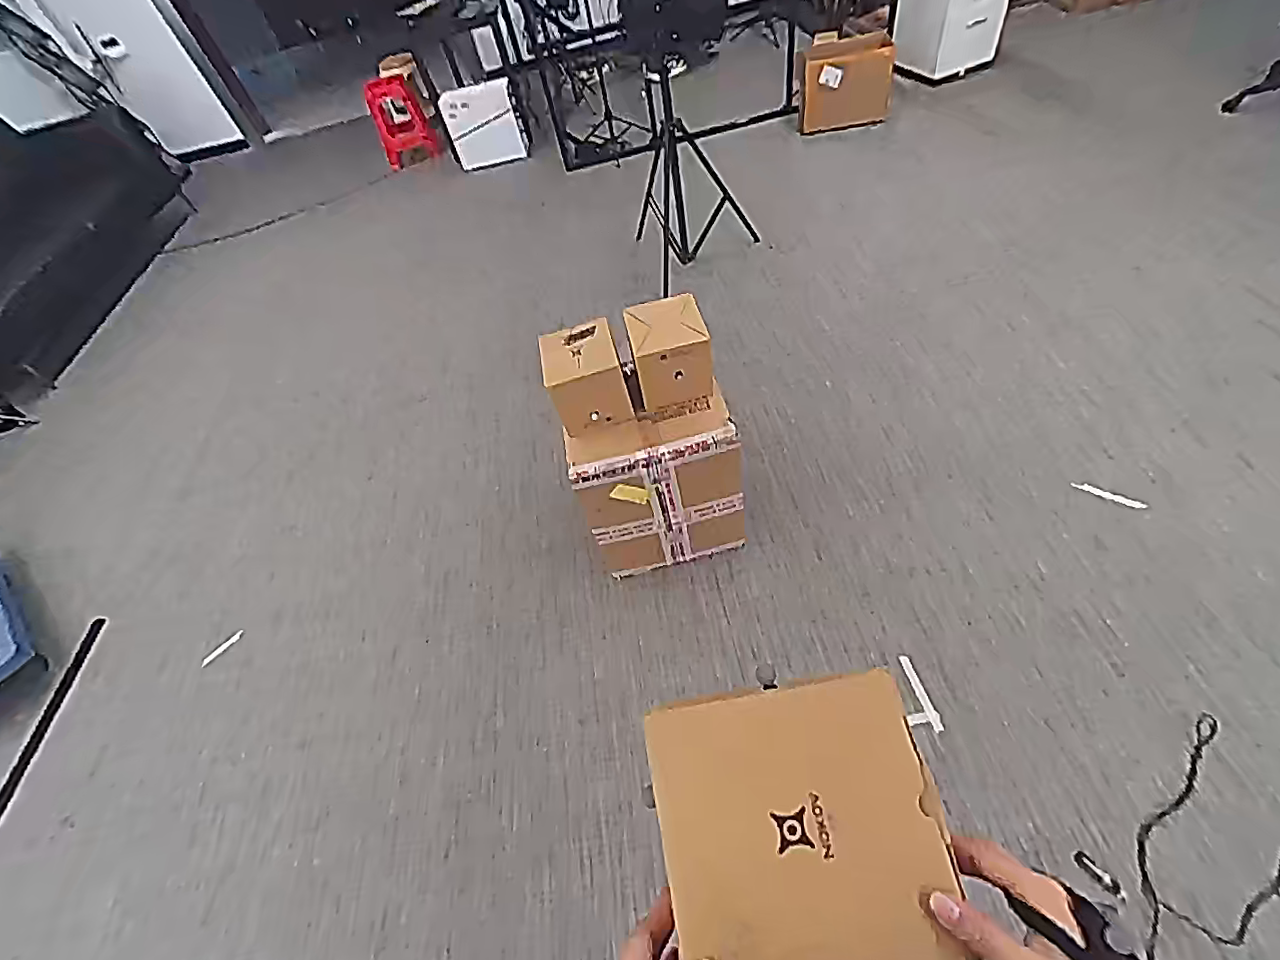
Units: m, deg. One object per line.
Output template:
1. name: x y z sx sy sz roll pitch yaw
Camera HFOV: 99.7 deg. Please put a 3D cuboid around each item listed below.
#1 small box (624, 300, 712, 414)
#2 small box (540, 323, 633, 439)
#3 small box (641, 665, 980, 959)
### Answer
1. small box: 0.064 -0.287 1.255 0.168 0.176 0.179 -13 52 -1
2. small box: -0.123 -0.227 1.255 0.168 0.176 0.179 -16 52 3
3. small box: 0.105 0.246 0.414 0.179 0.176 0.168 -11 68 -1
